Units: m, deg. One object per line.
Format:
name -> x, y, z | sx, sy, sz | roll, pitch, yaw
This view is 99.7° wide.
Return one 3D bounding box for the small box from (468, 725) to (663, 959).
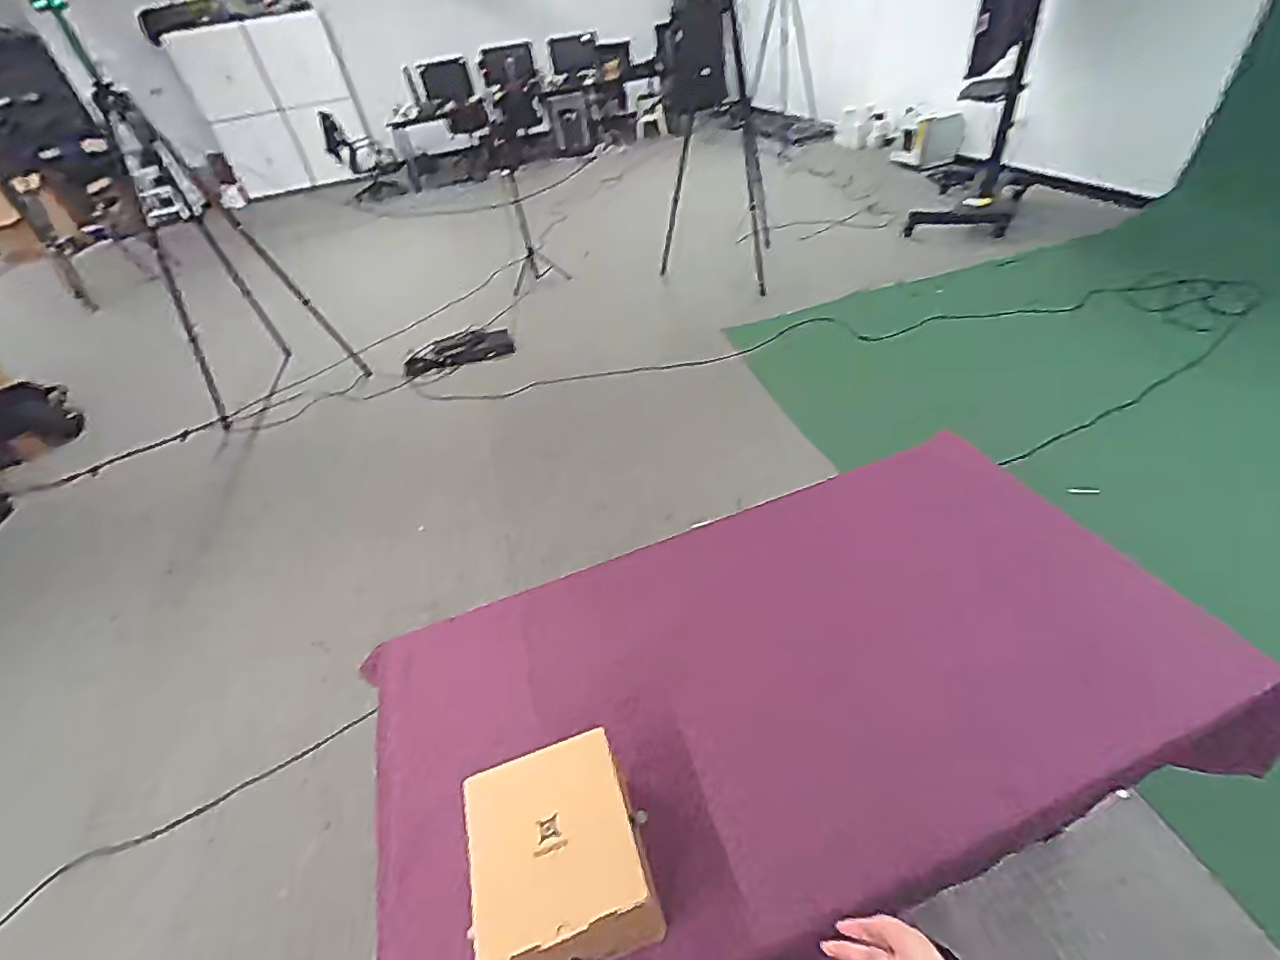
small box -> -0.082, 0.420, 0.612 | 0.168, 0.176, 0.179 | -18, 43, -9
